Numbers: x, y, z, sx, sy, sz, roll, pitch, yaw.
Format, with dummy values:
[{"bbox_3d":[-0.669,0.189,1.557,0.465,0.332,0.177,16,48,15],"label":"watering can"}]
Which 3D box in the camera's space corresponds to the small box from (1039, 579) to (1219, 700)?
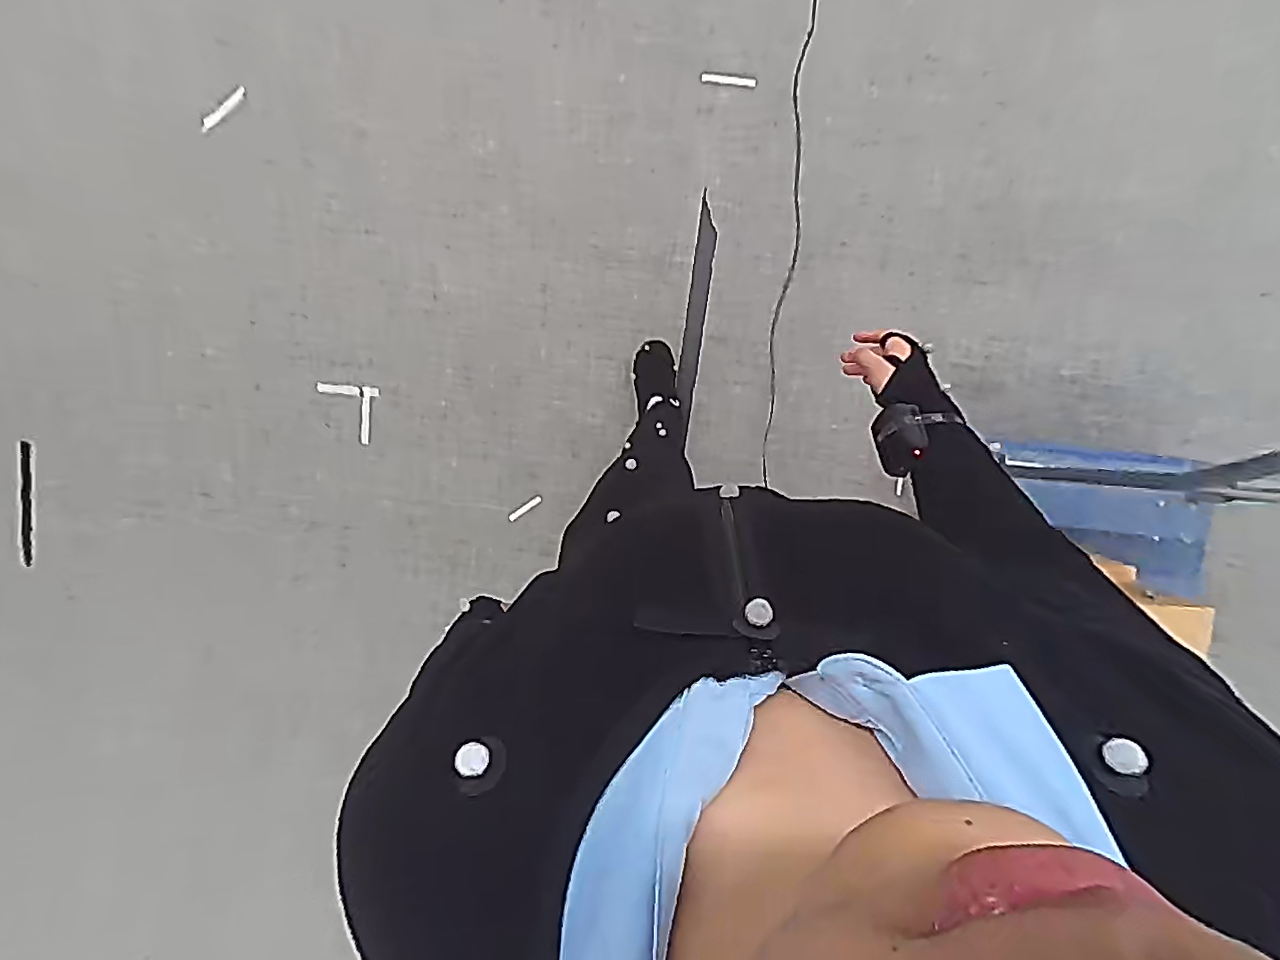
[{"bbox_3d":[0.905,0.291,1.017,0.179,0.176,0.168,3,96,3],"label":"small box"}]
